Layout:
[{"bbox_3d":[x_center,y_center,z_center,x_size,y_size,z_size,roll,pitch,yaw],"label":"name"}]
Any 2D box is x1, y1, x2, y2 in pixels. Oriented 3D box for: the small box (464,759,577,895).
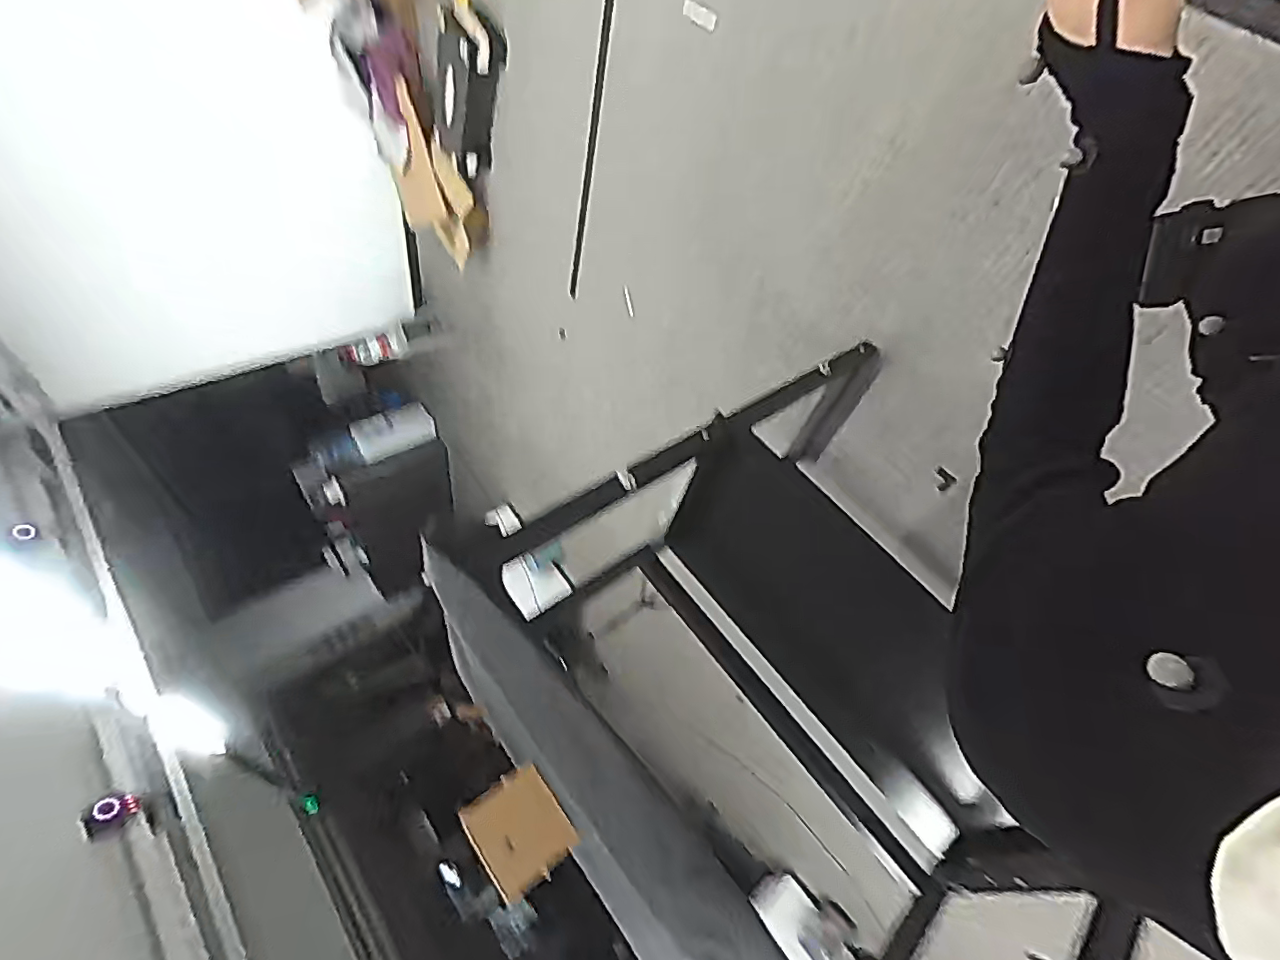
[{"bbox_3d":[-0.253,0.734,1.149,0.179,0.176,0.168,48,146,21],"label":"small box"}]
